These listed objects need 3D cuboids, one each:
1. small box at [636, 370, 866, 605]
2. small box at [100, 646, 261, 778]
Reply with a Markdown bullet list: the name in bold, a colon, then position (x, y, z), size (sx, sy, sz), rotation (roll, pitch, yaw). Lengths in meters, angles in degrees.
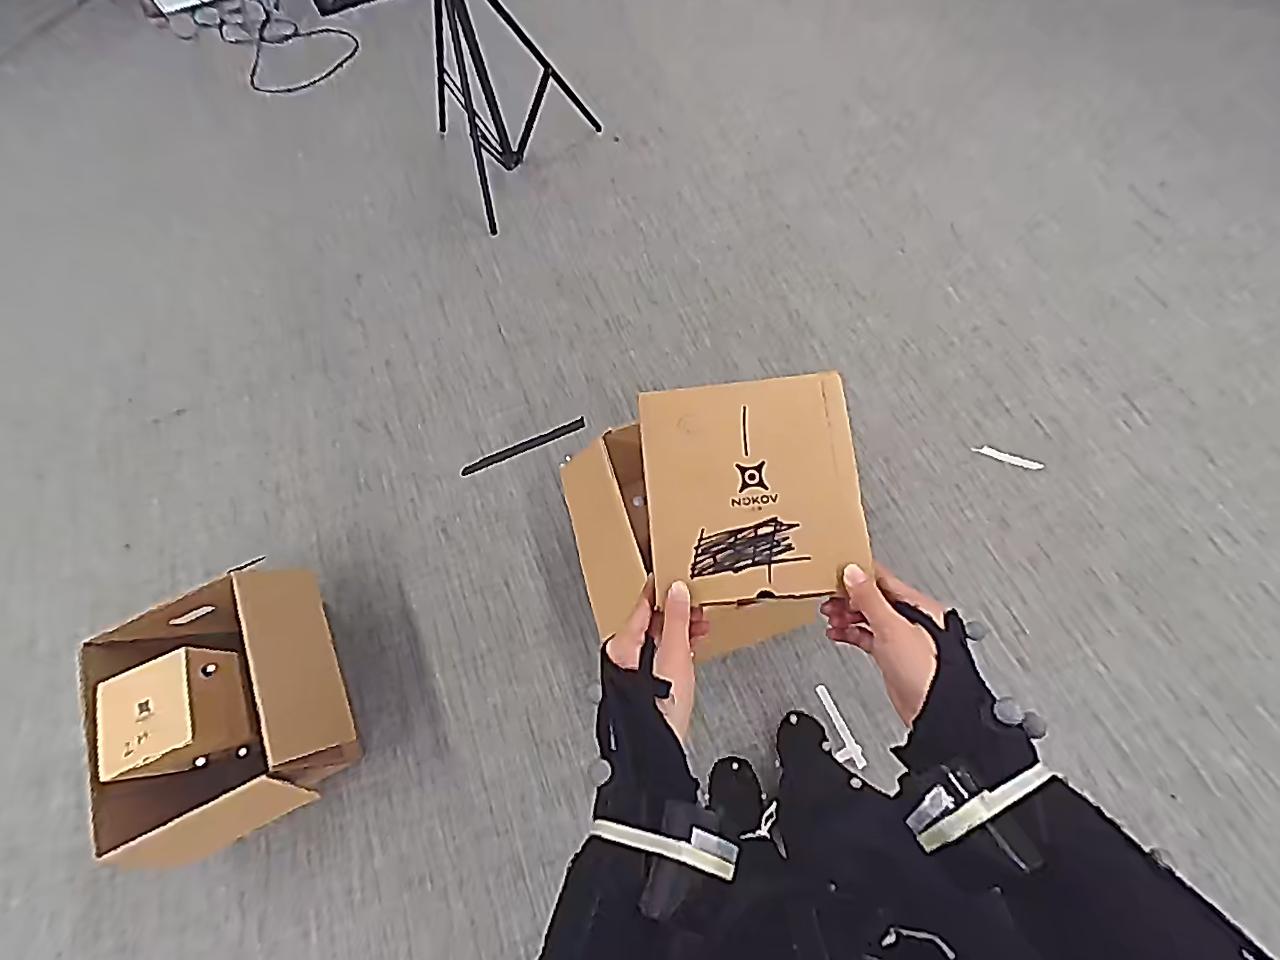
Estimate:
- **small box**: position (0.089, 0.017, 0.502), size (0.168, 0.176, 0.179), rotation (-6, 79, 3)
- **small box**: position (-0.871, 0.441, 1.037), size (0.168, 0.176, 0.179), rotation (-24, 67, -4)
